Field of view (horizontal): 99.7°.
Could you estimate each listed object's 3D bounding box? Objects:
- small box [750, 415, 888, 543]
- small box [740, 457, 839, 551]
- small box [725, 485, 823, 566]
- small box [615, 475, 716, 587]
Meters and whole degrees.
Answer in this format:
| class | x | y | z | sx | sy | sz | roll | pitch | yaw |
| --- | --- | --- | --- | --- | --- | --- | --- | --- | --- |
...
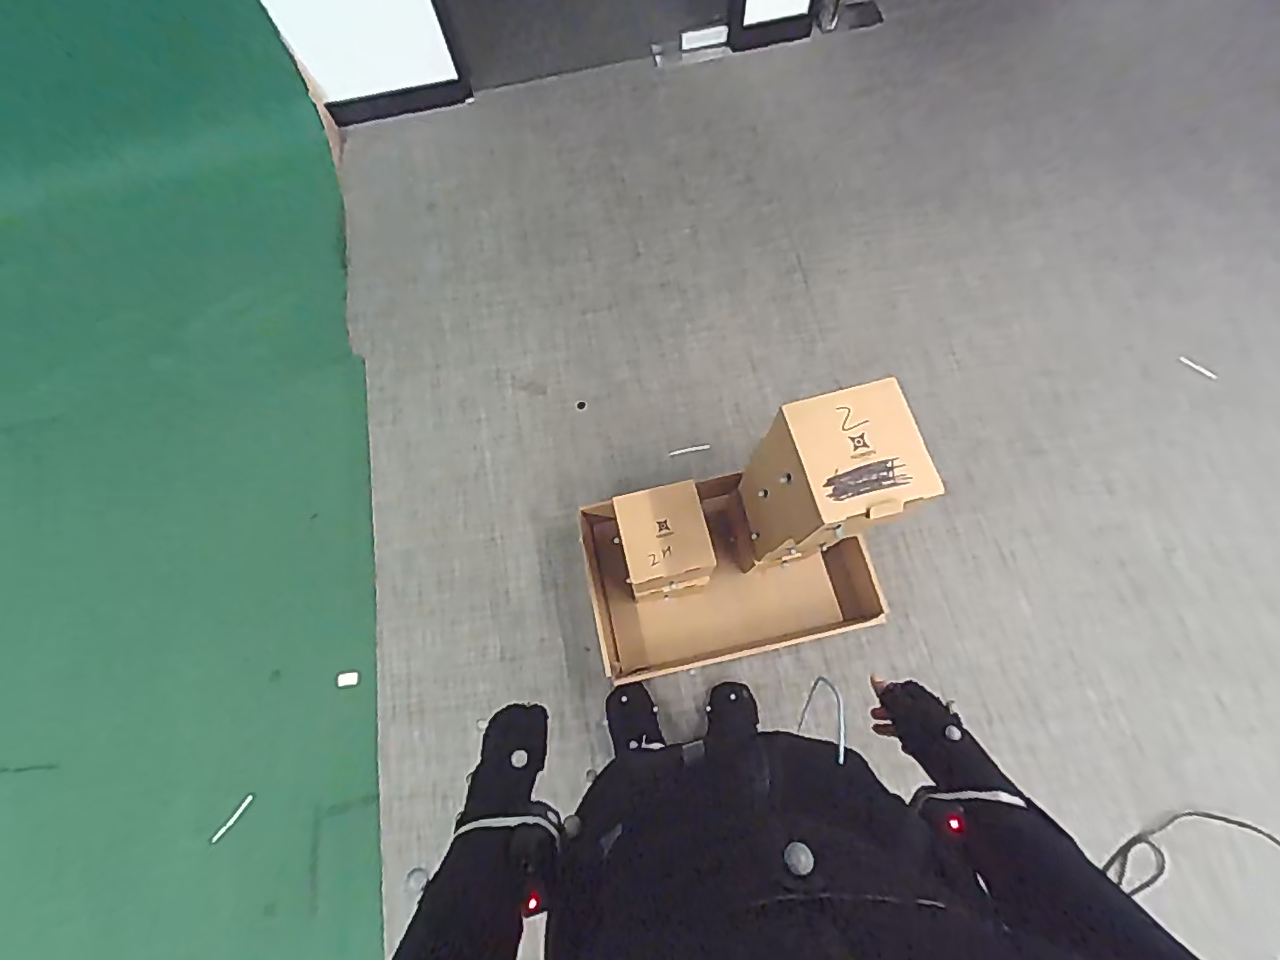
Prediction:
| class | x | y | z | sx | sy | sz | roll | pitch | yaw |
| --- | --- | --- | --- | --- | --- | --- | --- | --- | --- |
| small box | 0.303 | 0.008 | 0.954 | 0.168 | 0.176 | 0.179 | -12 | 74 | -1 |
| small box | 0.311 | 0.042 | 1.097 | 0.168 | 0.176 | 0.179 | -13 | 73 | 0 |
| small box | 0.307 | 0.097 | 1.270 | 0.168 | 0.176 | 0.179 | -17 | 73 | -1 |
| small box | 0.047 | 0.109 | 1.105 | 0.168 | 0.176 | 0.179 | -13 | 73 | -2 |
